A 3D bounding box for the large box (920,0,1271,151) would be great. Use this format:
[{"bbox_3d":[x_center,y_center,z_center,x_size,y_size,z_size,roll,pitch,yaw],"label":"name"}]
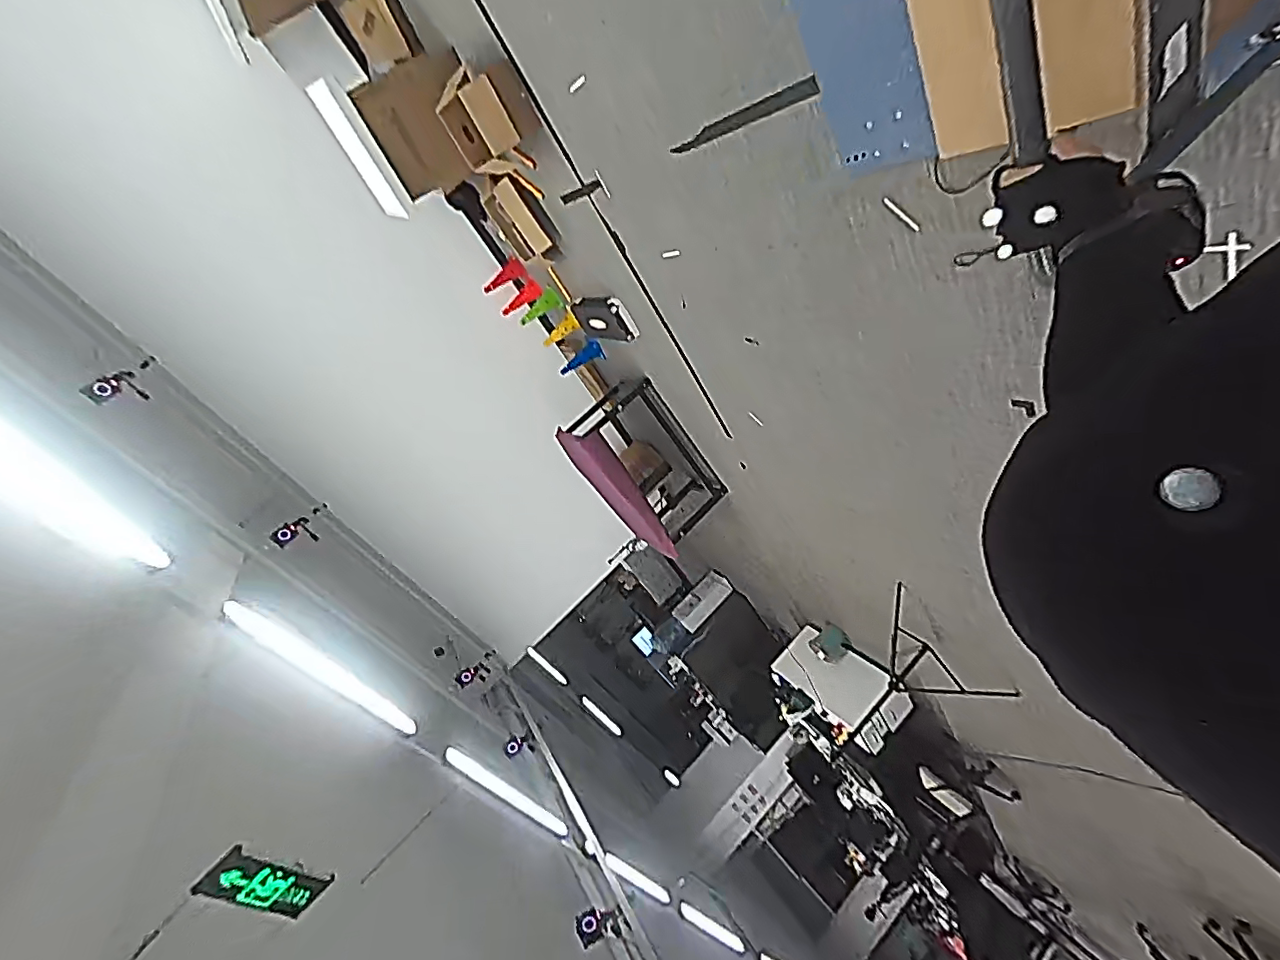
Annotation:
[{"bbox_3d":[0.631,-0.773,0.755,0.408,0.320,0.320,55,165,-30],"label":"large box"}]
